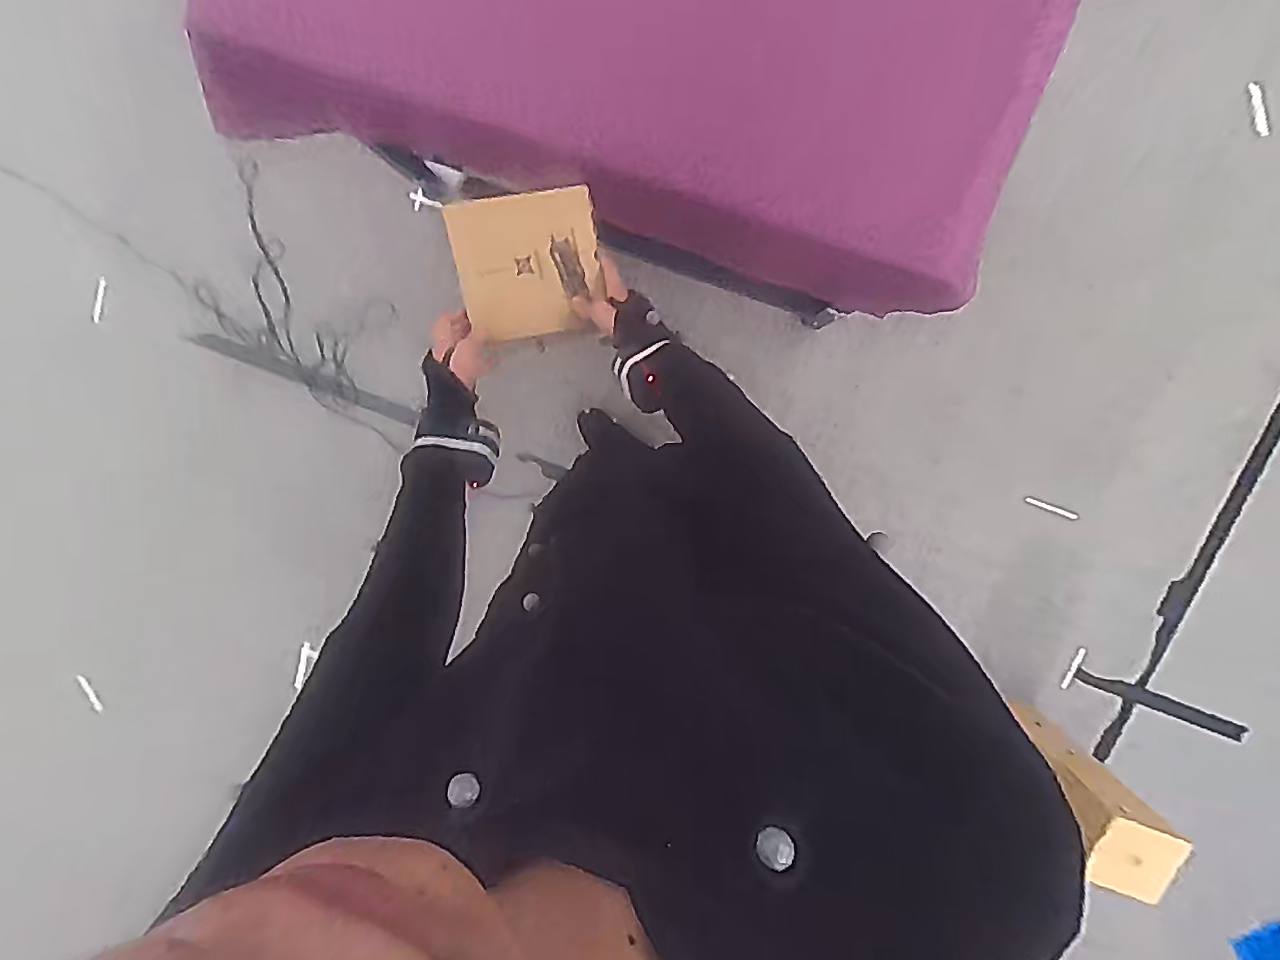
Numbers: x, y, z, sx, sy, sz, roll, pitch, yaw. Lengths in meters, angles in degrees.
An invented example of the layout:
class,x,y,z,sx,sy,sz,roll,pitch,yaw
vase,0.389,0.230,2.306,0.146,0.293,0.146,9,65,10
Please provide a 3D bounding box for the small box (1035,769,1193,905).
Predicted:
class,x,y,z,sx,sy,sz,roll,pitch,yaw
small box,1.061,0.799,1.228,0.179,0.176,0.168,20,101,2

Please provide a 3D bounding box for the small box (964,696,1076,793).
class,x,y,z,sx,sy,sz,roll,pitch,yaw
small box,1.080,0.751,1.552,0.179,0.176,0.168,17,100,3

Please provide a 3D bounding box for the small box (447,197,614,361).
class,x,y,z,sx,sy,sz,roll,pitch,yaw
small box,-0.145,-0.263,0.741,0.179,0.176,0.168,-13,100,-7
